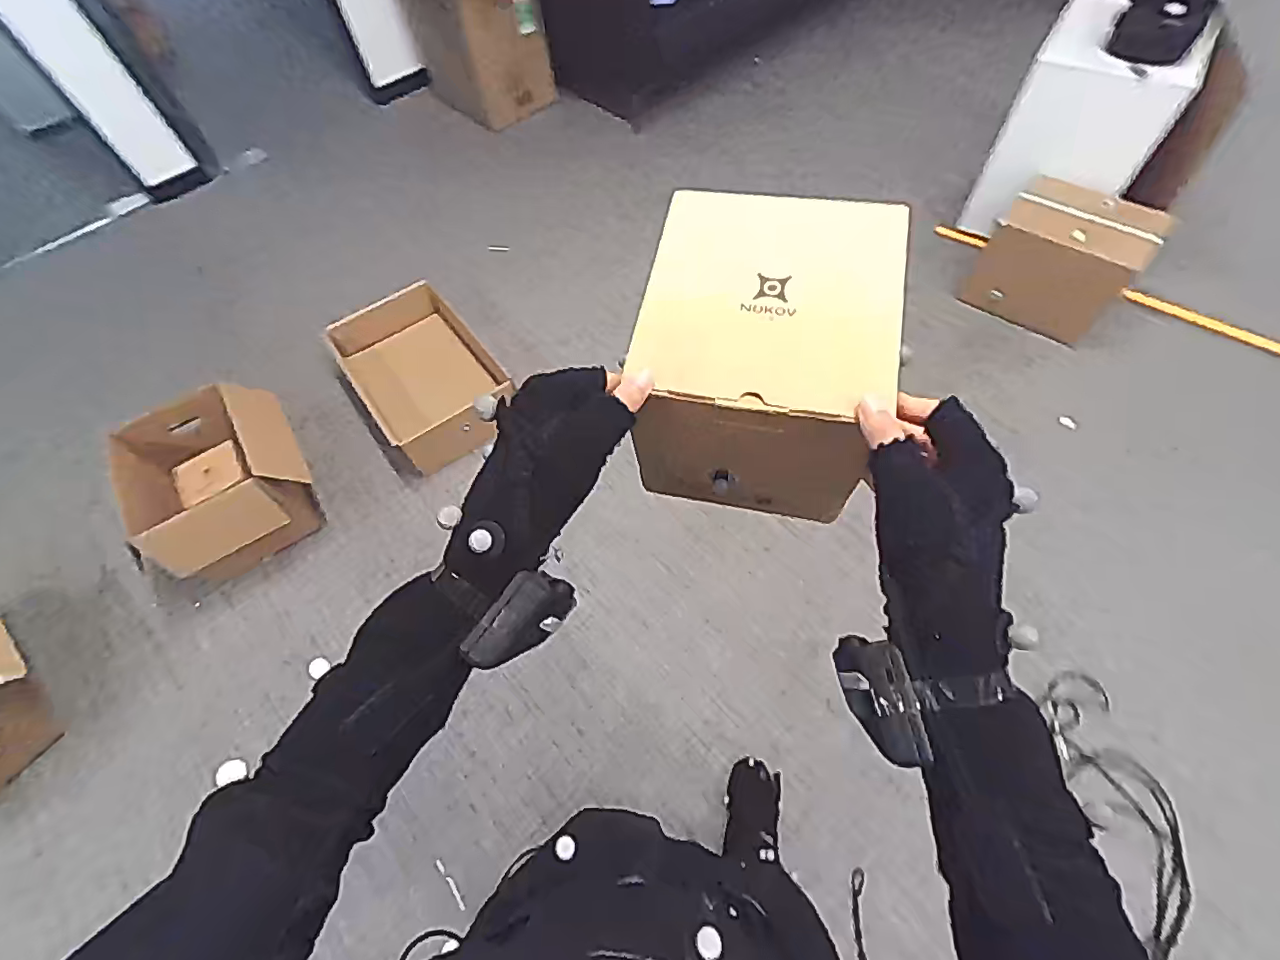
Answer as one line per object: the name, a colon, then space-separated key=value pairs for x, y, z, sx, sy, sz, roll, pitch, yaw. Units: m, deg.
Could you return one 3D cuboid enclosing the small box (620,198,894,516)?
small box: x=0.090 y=-0.091 z=0.436 sx=0.168 sy=0.176 sz=0.179 roll=9 pitch=67 yaw=11
